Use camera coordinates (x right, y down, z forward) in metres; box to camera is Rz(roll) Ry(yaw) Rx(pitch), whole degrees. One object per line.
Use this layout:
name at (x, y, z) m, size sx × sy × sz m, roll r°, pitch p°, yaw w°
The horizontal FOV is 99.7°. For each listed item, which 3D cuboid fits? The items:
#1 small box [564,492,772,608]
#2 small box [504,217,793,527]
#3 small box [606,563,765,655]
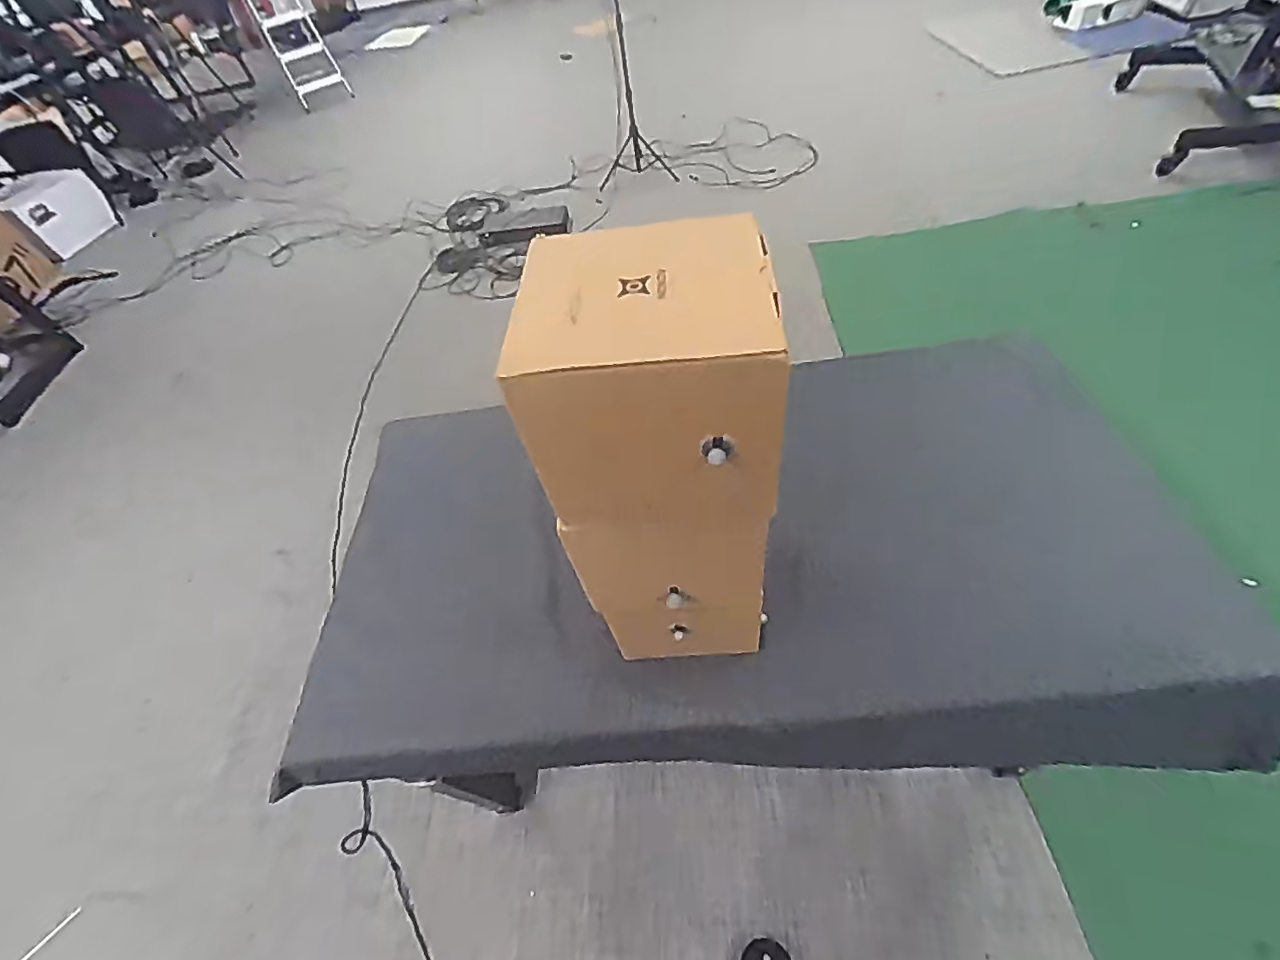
small box at (0.031, 0.021, 0.558) m, size 0.179 × 0.176 × 0.168 m, roll -5°, pitch 51°, yaw 6°
small box at (0.015, -0.077, 0.430) m, size 0.179 × 0.176 × 0.168 m, roll -5°, pitch 50°, yaw 8°
small box at (0.058, 0.113, 0.691) m, size 0.179 × 0.176 × 0.168 m, roll -6°, pitch 51°, yaw 7°
